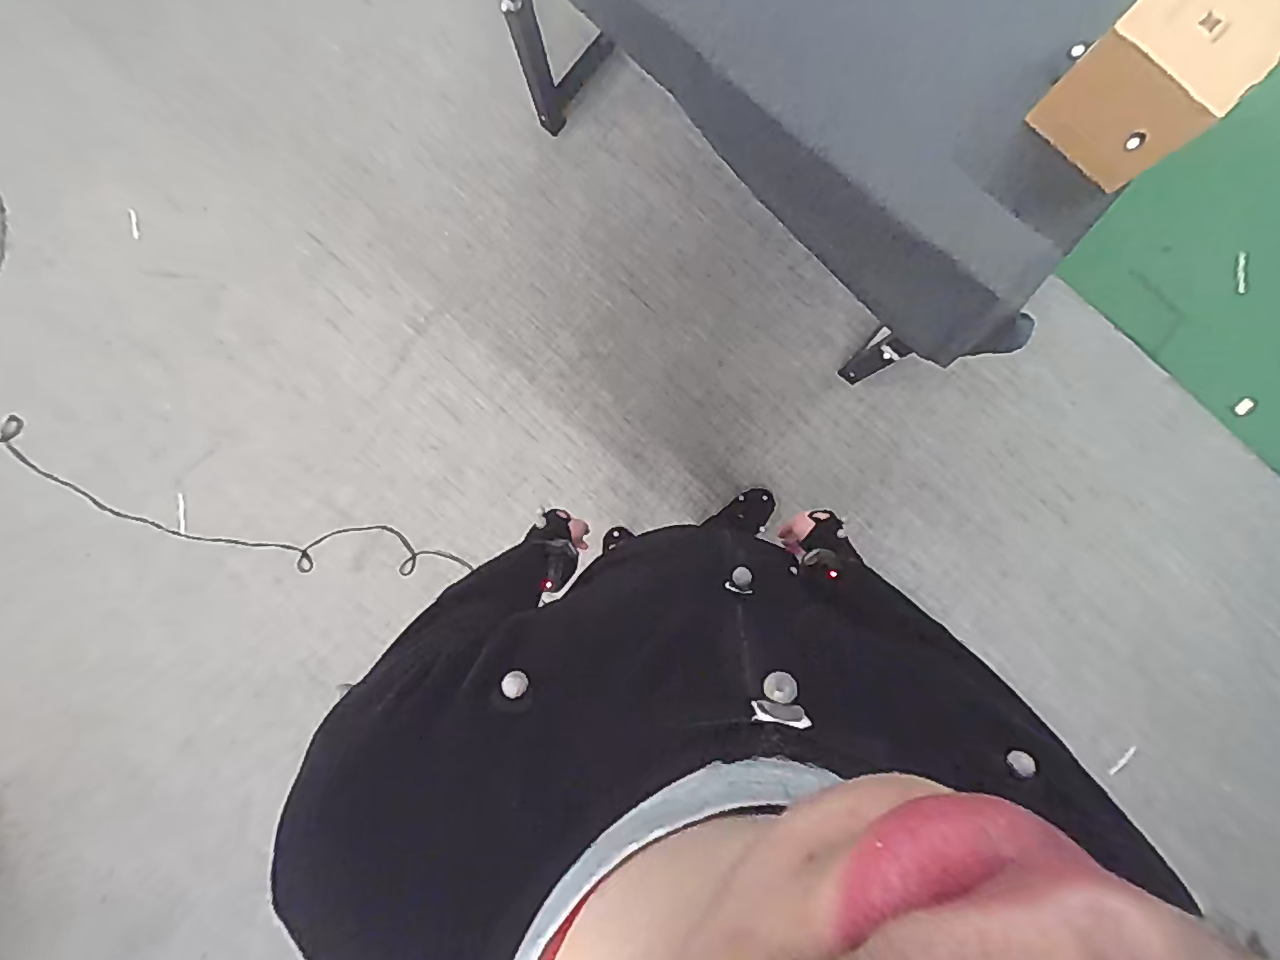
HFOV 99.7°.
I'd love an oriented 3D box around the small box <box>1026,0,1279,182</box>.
[{"bbox_3d":[0.689,-0.545,0.730,0.179,0.176,0.168,43,90,3],"label":"small box"}]
